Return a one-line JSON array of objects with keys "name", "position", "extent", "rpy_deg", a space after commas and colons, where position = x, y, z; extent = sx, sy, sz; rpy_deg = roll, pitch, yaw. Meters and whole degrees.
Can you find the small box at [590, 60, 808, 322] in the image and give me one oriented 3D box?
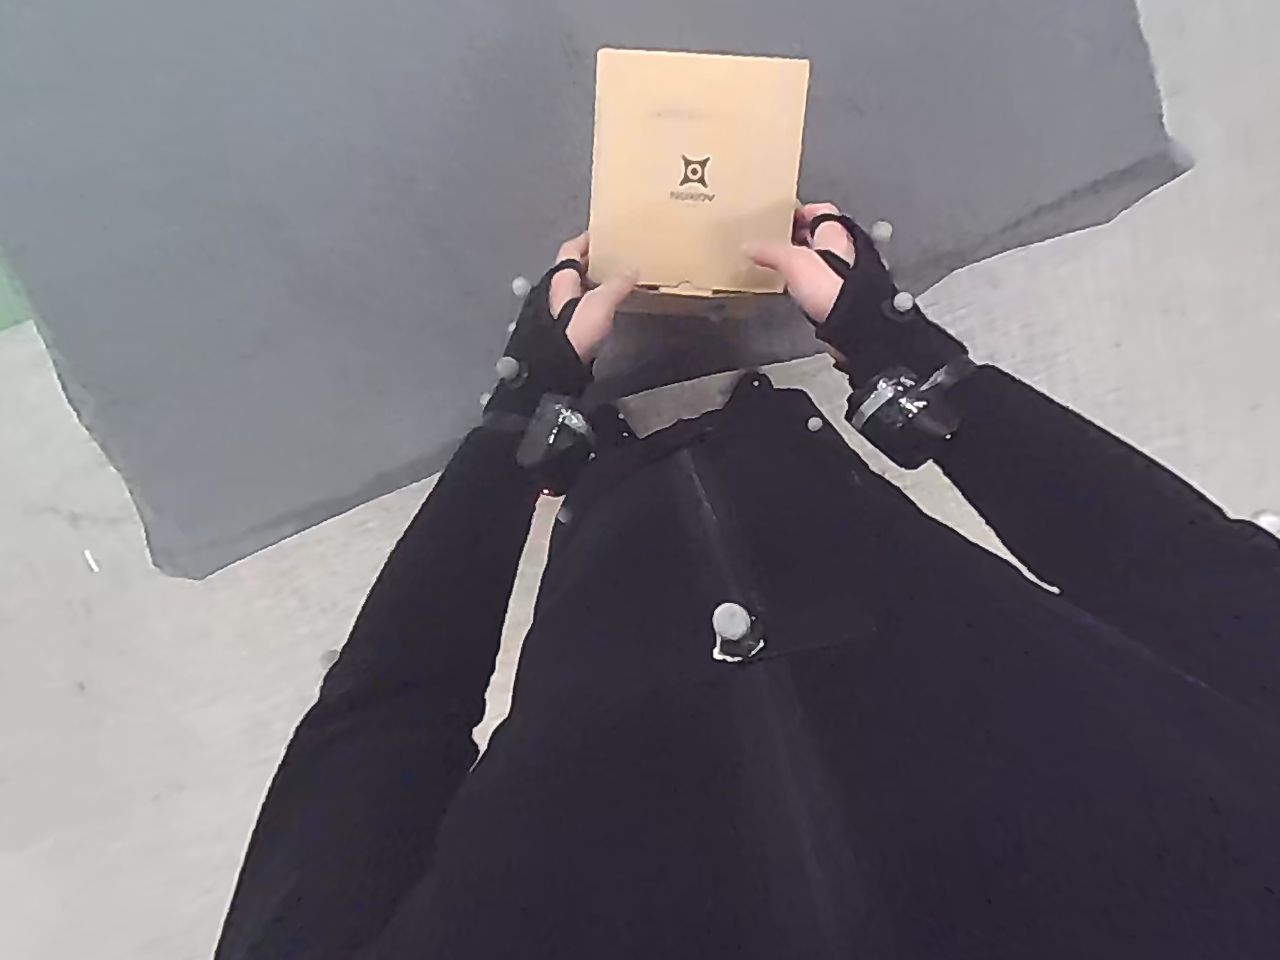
[{"name": "small box", "position": [0.046, -0.249, 0.510], "extent": [0.168, 0.176, 0.179], "rpy_deg": [2, 99, 0]}]
